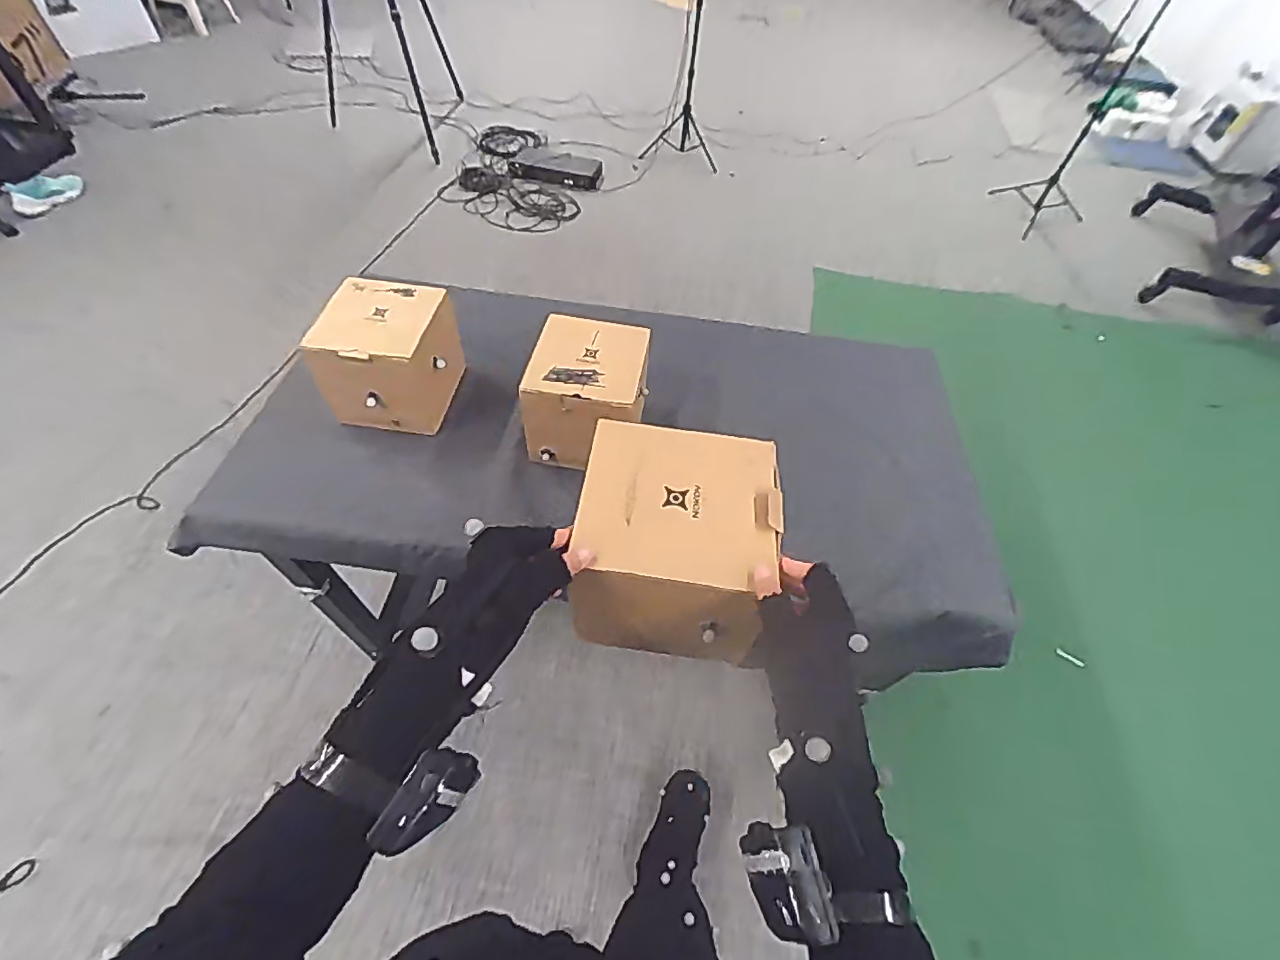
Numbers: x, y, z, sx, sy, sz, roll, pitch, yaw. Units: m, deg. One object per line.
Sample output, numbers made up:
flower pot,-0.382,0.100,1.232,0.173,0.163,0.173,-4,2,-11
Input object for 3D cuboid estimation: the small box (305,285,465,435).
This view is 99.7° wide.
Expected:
small box,-0.407,-0.195,0.903,0.168,0.176,0.179,7,54,1

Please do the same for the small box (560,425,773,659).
small box,0.027,0.068,0.545,0.179,0.176,0.168,6,52,3

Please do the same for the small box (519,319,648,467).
small box,-0.083,-0.131,0.879,0.168,0.176,0.179,9,53,3
